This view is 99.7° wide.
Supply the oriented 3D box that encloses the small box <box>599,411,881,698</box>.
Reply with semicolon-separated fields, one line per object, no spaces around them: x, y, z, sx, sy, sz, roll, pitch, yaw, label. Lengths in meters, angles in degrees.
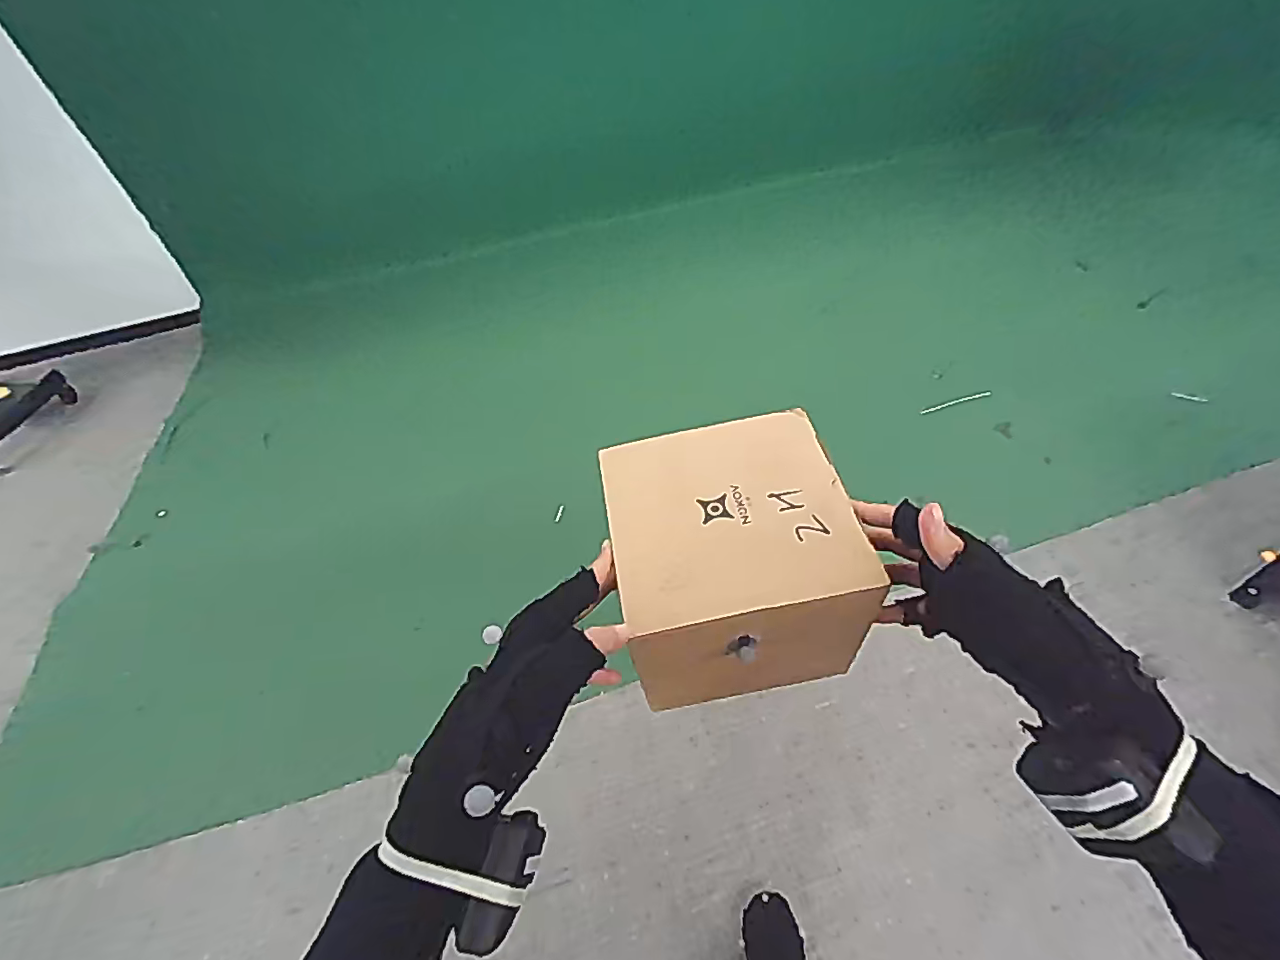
0.071;0.070;0.459;0.179;0.176;0.168;-10;52;0;small box
